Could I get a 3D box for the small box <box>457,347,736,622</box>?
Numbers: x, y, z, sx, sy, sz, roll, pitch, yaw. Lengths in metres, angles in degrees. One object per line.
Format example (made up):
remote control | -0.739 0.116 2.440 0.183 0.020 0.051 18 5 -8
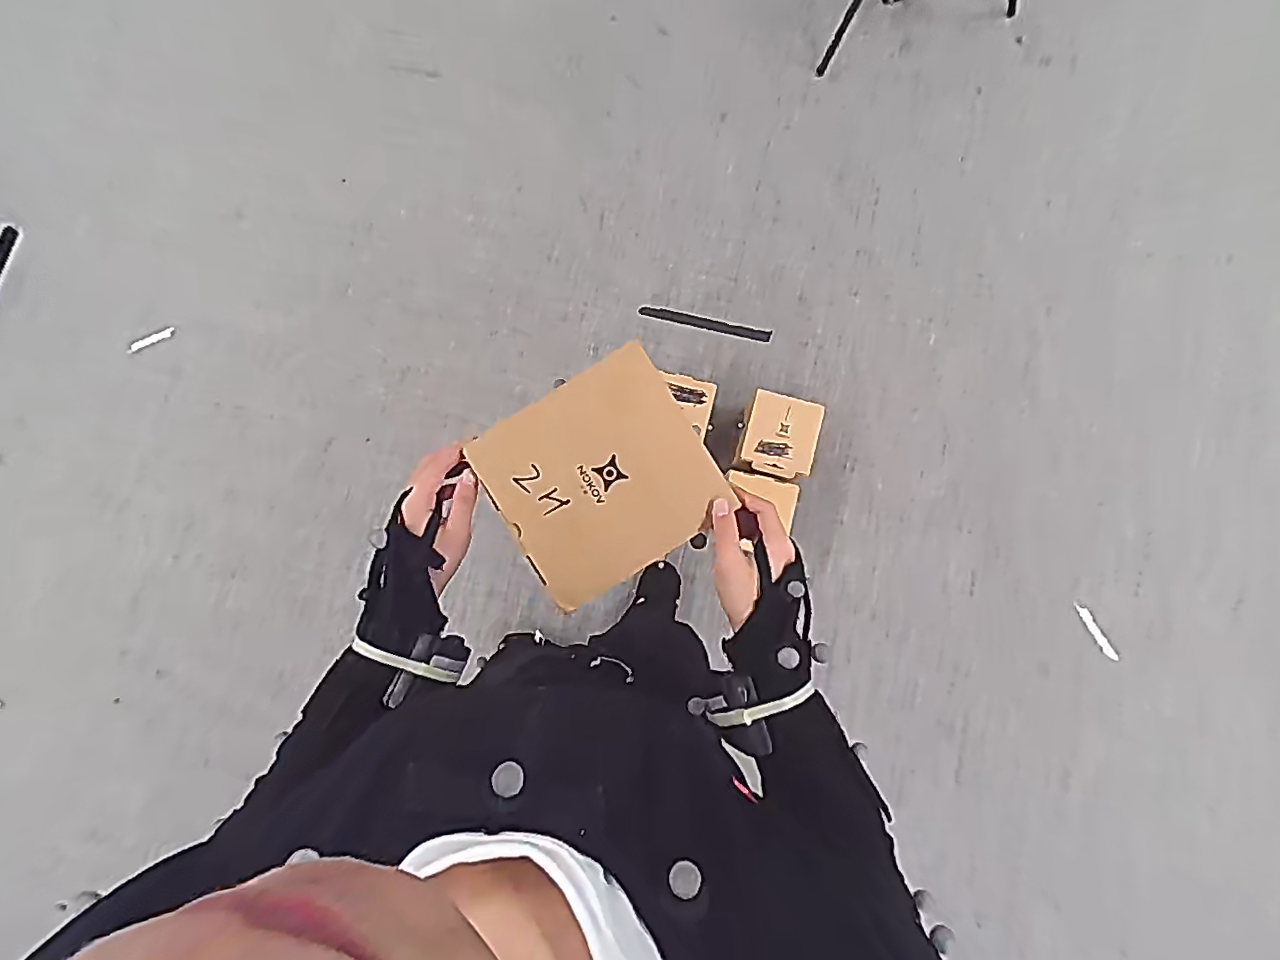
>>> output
small box | -0.036 0.003 0.517 0.179 0.176 0.168 -32 89 0
